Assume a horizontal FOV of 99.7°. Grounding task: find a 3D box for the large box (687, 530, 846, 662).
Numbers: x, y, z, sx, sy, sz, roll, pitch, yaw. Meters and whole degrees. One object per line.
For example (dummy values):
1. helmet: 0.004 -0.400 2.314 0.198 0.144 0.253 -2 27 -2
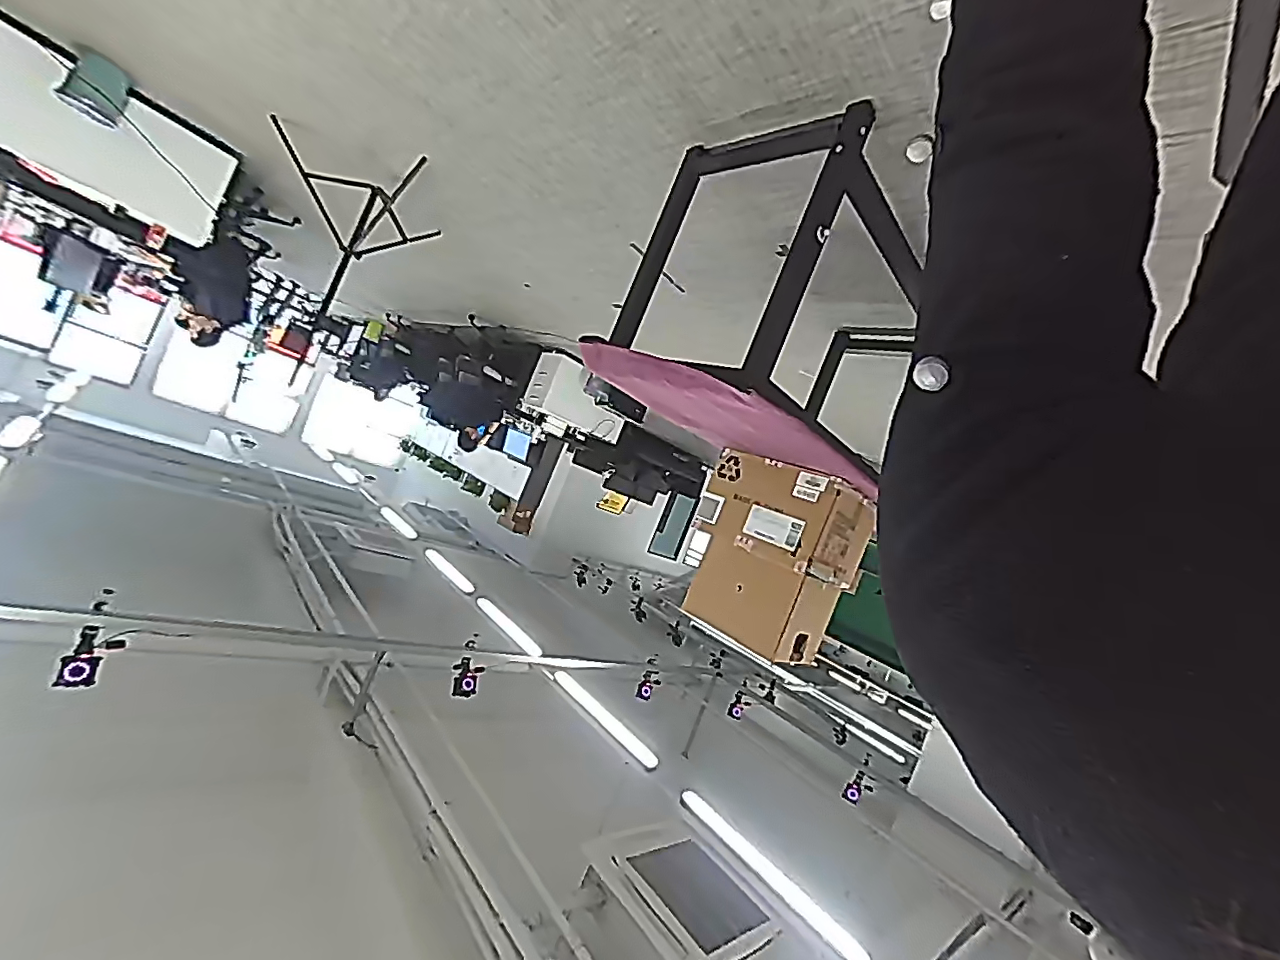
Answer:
1. large box: 0.449 0.406 1.937 0.320 0.320 0.408 21 179 -44
